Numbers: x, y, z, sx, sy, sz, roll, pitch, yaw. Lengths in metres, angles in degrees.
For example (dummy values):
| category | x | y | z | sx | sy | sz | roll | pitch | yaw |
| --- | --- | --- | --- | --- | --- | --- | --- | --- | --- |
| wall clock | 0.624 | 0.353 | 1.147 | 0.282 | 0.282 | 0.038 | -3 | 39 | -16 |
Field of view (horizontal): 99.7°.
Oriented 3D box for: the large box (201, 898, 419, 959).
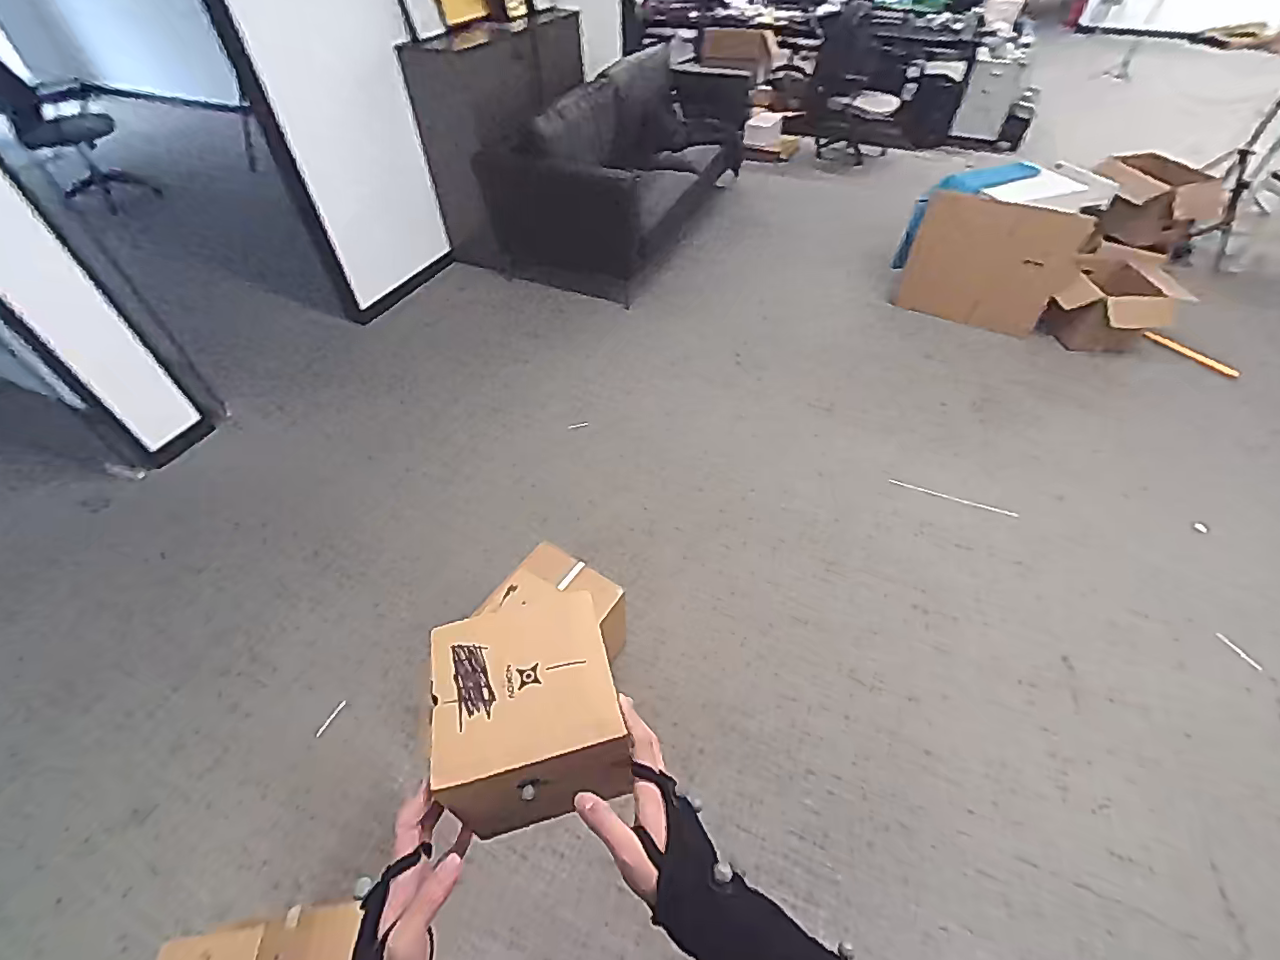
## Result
| category | x | y | z | sx | sy | sz | roll | pitch | yaw |
| --- | --- | --- | --- | --- | --- | --- | --- | --- | --- |
| large box | -0.640 | 1.083 | 1.031 | 0.320 | 0.320 | 0.408 | -7 | 49 | -5 |

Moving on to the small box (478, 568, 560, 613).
| category | x | y | z | sx | sy | sz | roll | pitch | yaw |
| --- | --- | --- | --- | --- | --- | --- | --- | --- | --- |
| small box | -0.278 | 0.358 | 1.349 | 0.179 | 0.176 | 0.168 | 24 | 53 | 19 |

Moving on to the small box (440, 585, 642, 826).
| category | x | y | z | sx | sy | sz | roll | pitch | yaw |
| --- | --- | --- | --- | --- | --- | --- | --- | --- | --- |
| small box | -0.103 | 0.245 | 0.586 | 0.179 | 0.176 | 0.168 | -13 | 46 | -9 |
